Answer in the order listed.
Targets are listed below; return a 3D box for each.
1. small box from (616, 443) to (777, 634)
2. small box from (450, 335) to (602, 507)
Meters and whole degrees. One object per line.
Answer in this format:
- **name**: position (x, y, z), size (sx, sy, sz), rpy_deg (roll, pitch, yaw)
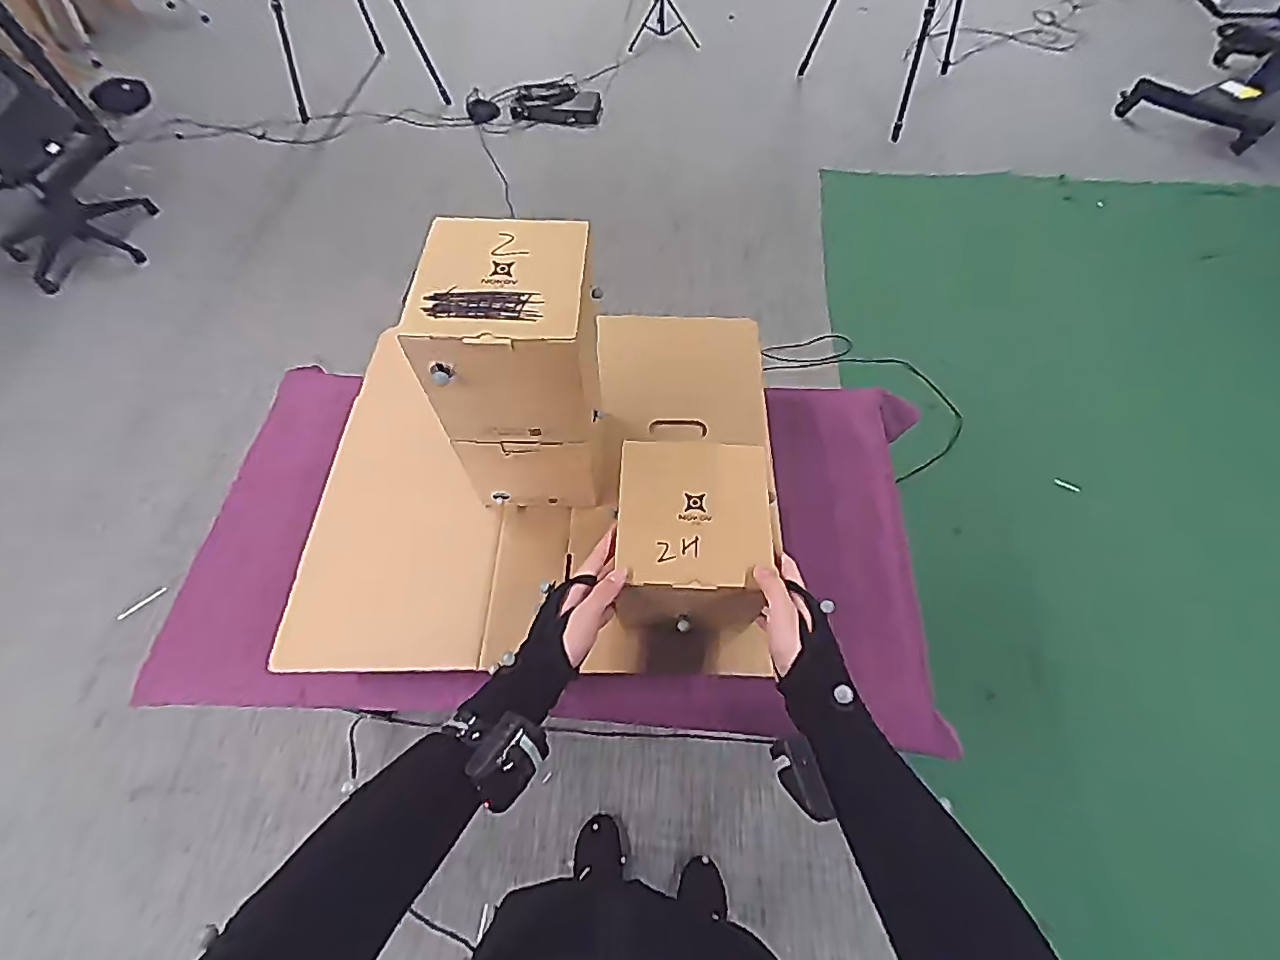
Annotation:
- **small box**: position (0.062, 0.074, 0.653), size (0.168, 0.176, 0.179), rpy_deg (2, 62, 3)
- **small box**: position (-0.140, -0.074, 0.738), size (0.168, 0.176, 0.179), rpy_deg (1, 59, -1)
